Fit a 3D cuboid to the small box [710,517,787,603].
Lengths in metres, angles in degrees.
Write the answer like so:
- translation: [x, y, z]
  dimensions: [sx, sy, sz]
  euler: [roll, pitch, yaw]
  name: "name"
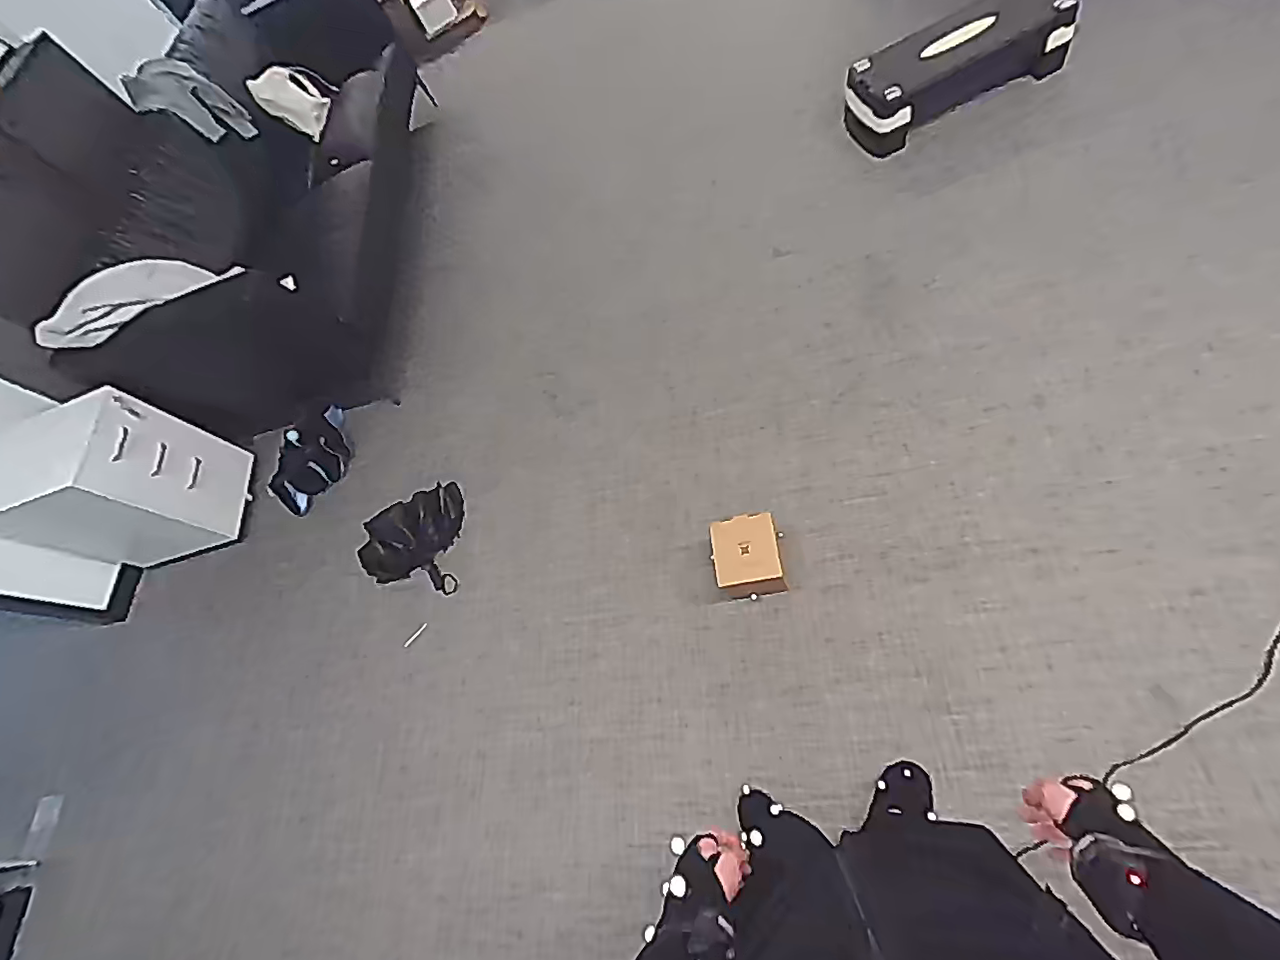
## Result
- translation: [0.294, 0.220, 1.457]
  dimensions: [0.168, 0.176, 0.179]
  euler: [-13, 64, 15]
  name: "small box"
